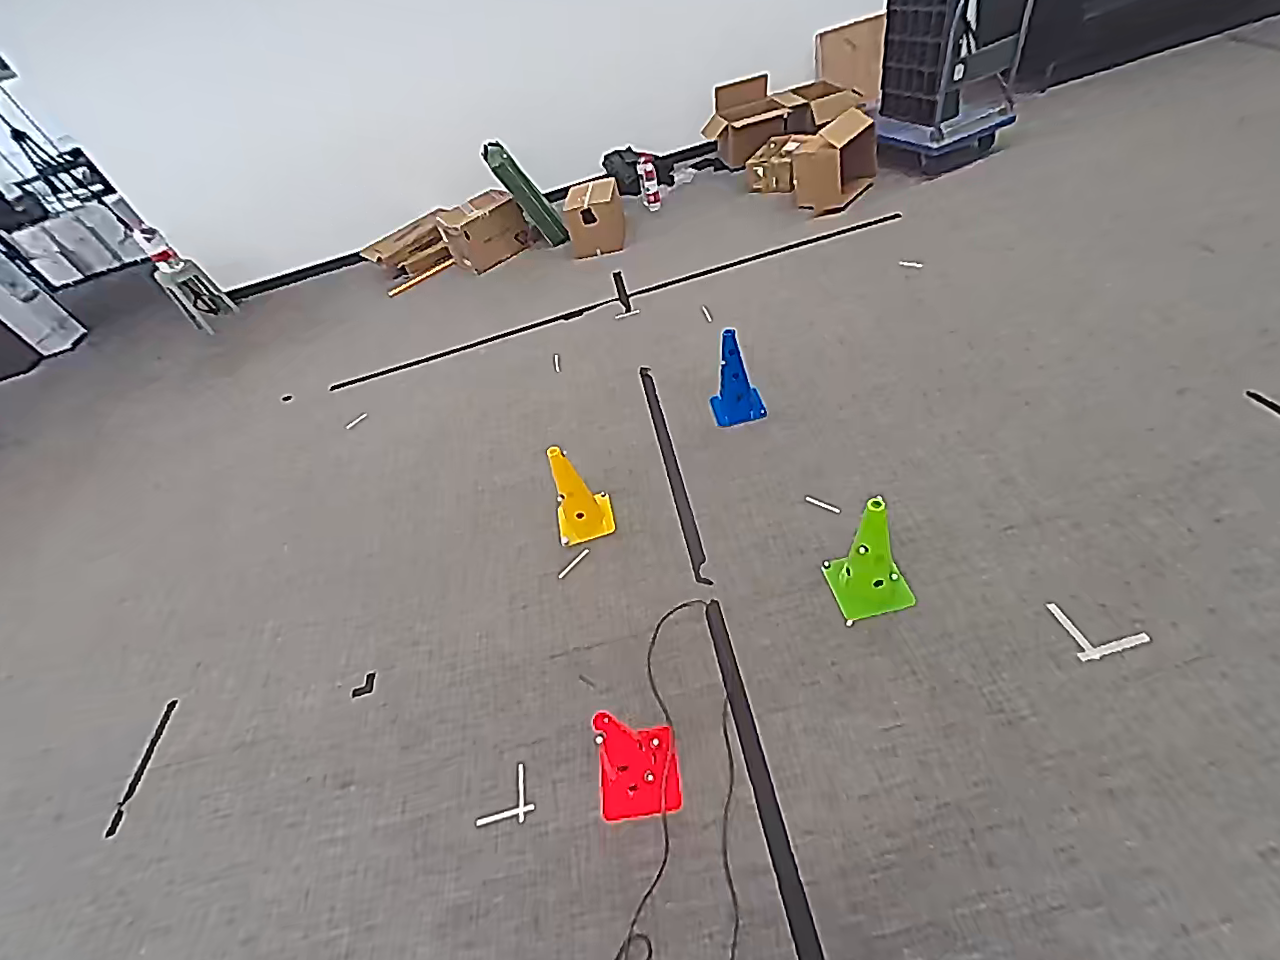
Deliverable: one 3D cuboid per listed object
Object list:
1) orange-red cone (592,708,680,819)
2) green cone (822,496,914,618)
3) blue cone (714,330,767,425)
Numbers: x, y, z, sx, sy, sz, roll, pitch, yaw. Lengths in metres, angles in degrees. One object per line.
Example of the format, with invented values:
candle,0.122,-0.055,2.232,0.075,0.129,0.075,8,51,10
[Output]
orange-red cone,-0.044,0.612,1.235,0.199,0.360,0.198,-13,43,7
green cone,0.616,0.179,1.435,0.202,0.368,0.200,-15,45,2
blue cone,0.370,-0.409,2.098,0.192,0.380,0.193,-12,45,5
